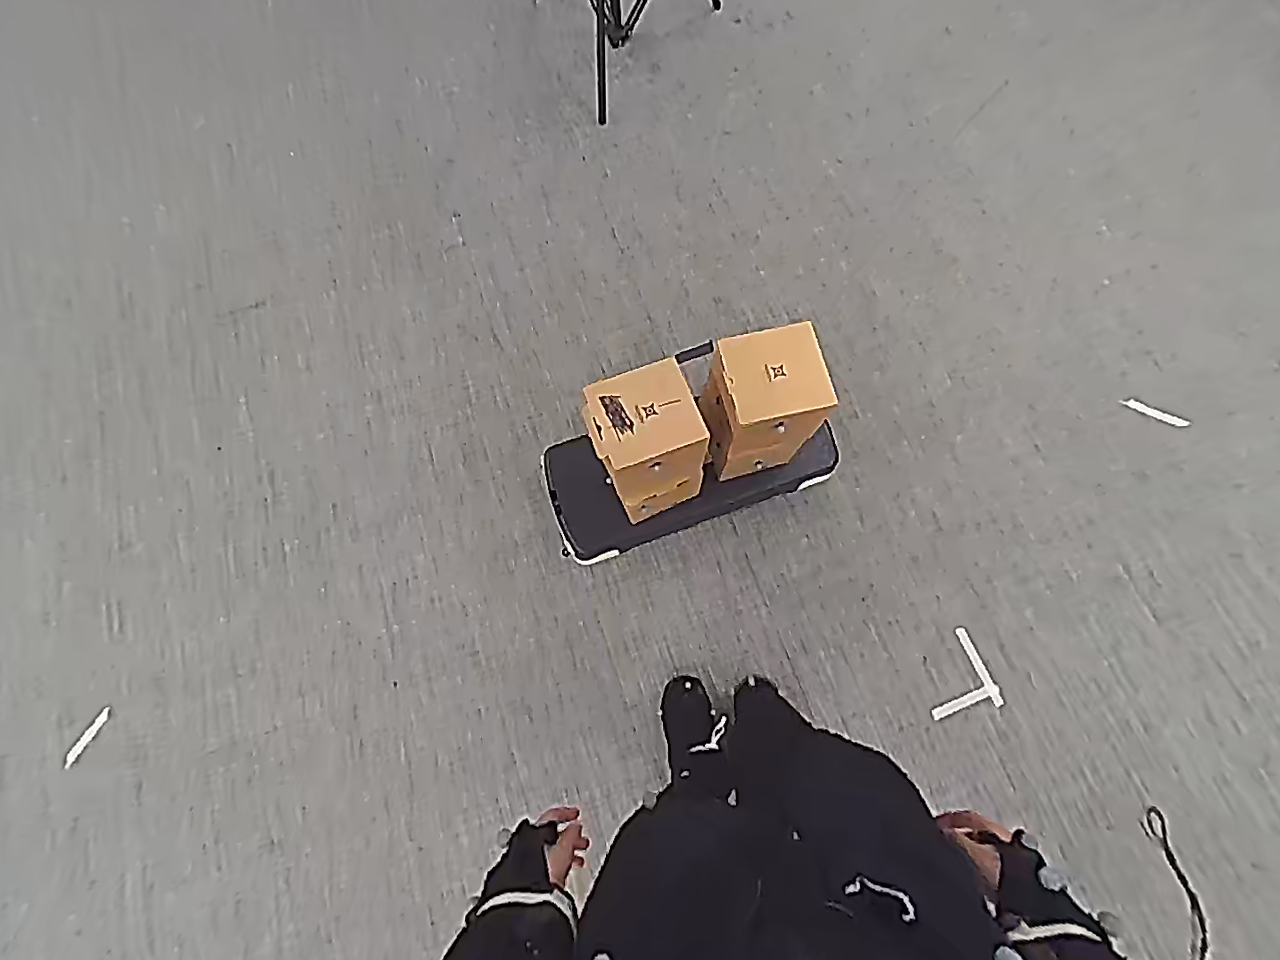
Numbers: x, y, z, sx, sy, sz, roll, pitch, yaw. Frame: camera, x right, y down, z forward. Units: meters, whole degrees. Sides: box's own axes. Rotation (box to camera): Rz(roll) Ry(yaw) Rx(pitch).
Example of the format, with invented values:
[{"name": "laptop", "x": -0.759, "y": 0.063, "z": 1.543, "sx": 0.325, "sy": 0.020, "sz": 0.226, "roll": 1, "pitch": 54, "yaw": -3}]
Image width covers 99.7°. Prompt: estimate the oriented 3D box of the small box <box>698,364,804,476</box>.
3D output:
[{"name": "small box", "x": 0.229, "y": -0.119, "z": 1.163, "sx": 0.168, "sy": 0.176, "sz": 0.179, "roll": -15, "pitch": 75, "yaw": -2}]
